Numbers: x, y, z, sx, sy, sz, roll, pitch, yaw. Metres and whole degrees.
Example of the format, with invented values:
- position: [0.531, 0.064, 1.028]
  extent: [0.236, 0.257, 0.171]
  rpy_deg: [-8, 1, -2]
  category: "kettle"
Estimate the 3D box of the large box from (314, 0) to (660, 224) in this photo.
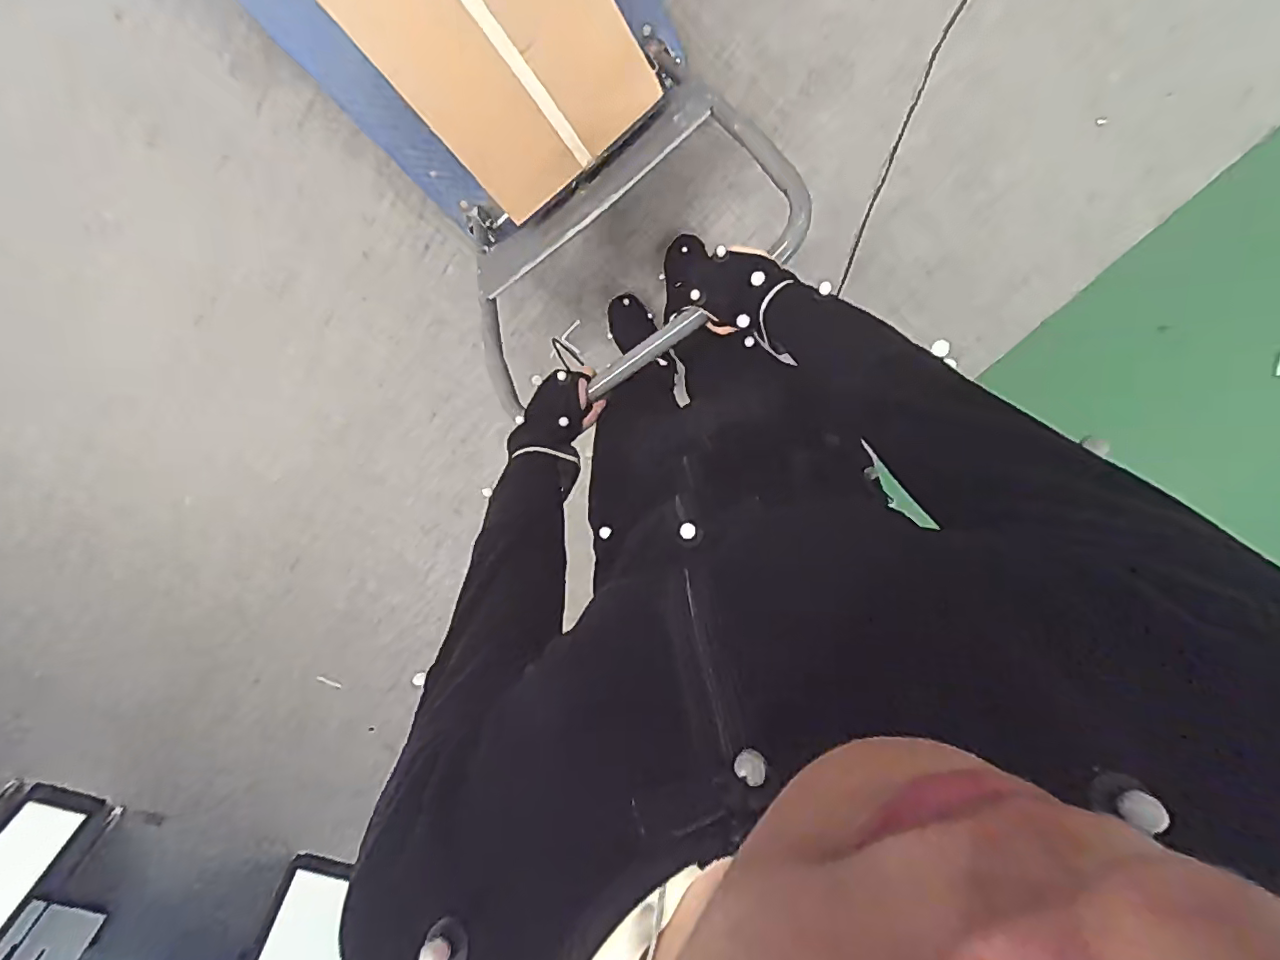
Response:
- position: [-0.226, -0.725, 0.877]
  extent: [0.320, 0.320, 0.408]
  rpy_deg: [-33, 134, 18]
  category: "large box"
